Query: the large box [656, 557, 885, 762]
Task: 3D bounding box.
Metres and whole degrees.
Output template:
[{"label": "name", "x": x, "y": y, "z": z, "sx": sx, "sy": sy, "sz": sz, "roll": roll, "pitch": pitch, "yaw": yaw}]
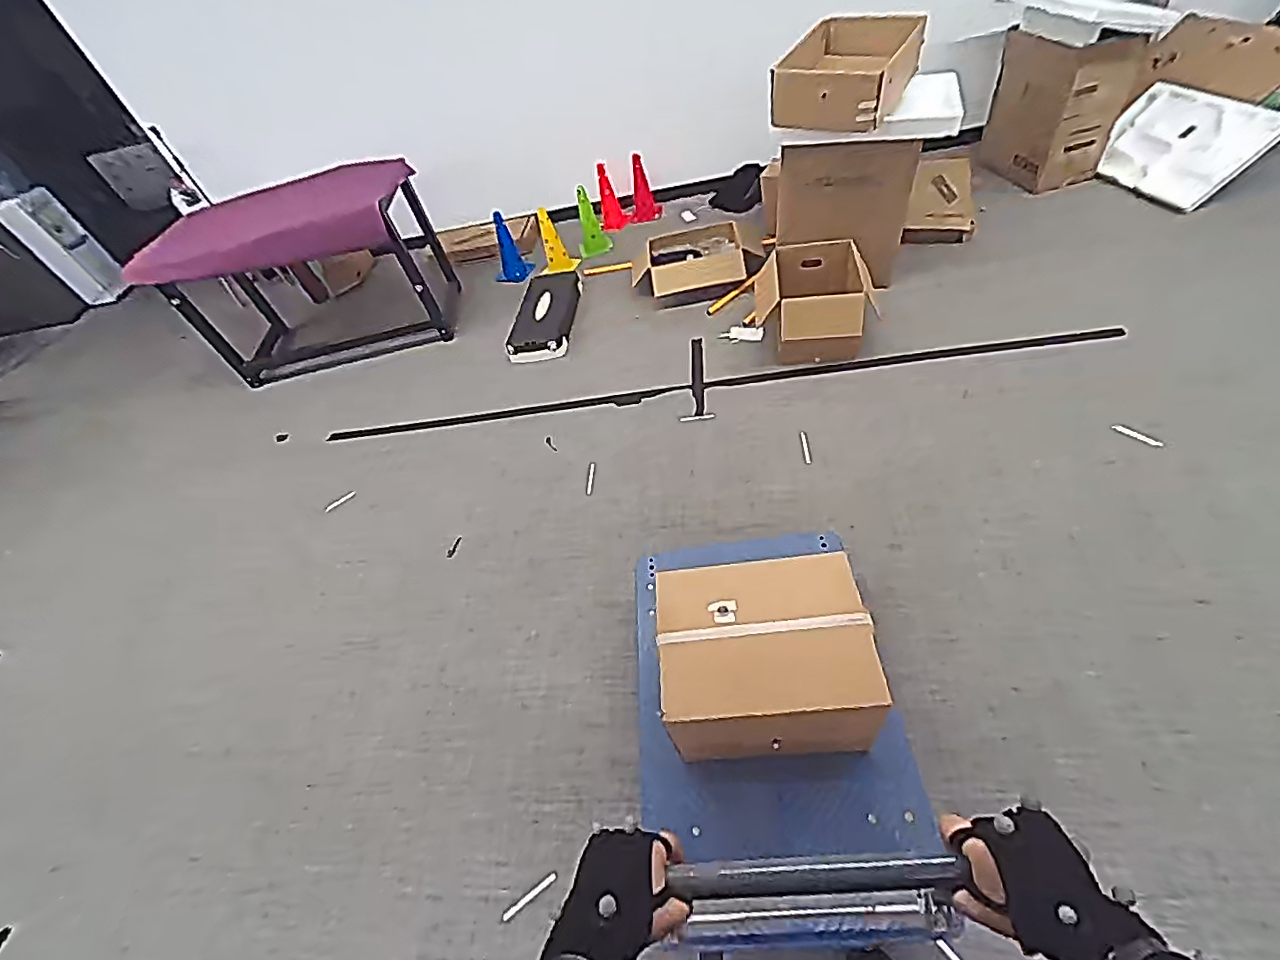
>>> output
[{"label": "large box", "x": 0.266, "y": 0.403, "z": 1.184, "sx": 0.408, "sy": 0.320, "sz": 0.320, "roll": -9, "pitch": 48, "yaw": 8}]
